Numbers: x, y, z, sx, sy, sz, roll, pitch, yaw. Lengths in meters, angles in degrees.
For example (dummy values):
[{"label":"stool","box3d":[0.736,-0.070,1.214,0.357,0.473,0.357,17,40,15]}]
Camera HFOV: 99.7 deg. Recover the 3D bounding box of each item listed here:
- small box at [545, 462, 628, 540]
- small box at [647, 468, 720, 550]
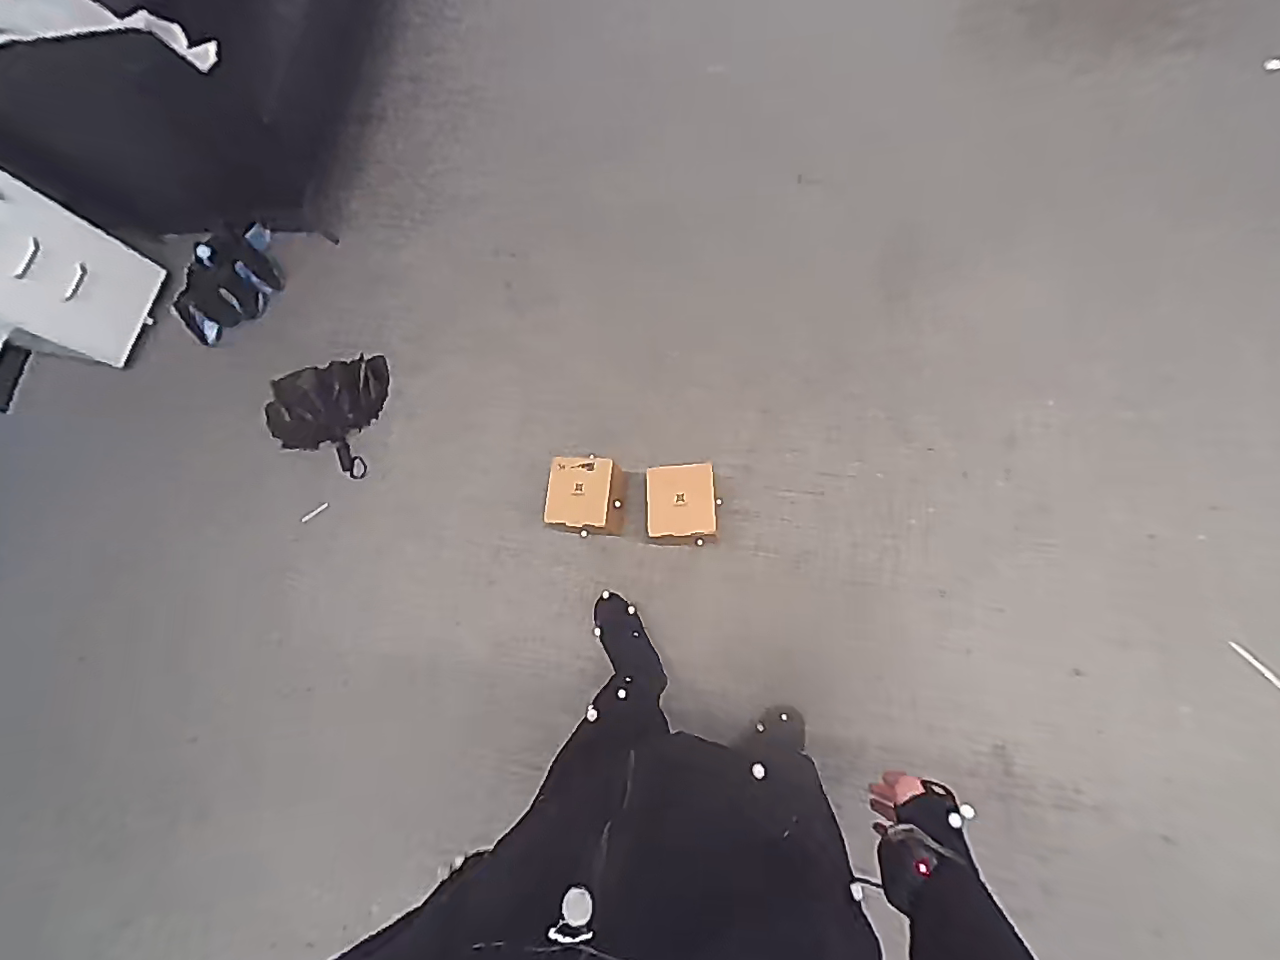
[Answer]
[{"label":"small box","box3d":[-0.135,0.060,1.432,0.168,0.176,0.179,3,76,13]},{"label":"small box","box3d":[0.114,0.080,1.375,0.168,0.176,0.179,-5,72,9]}]
